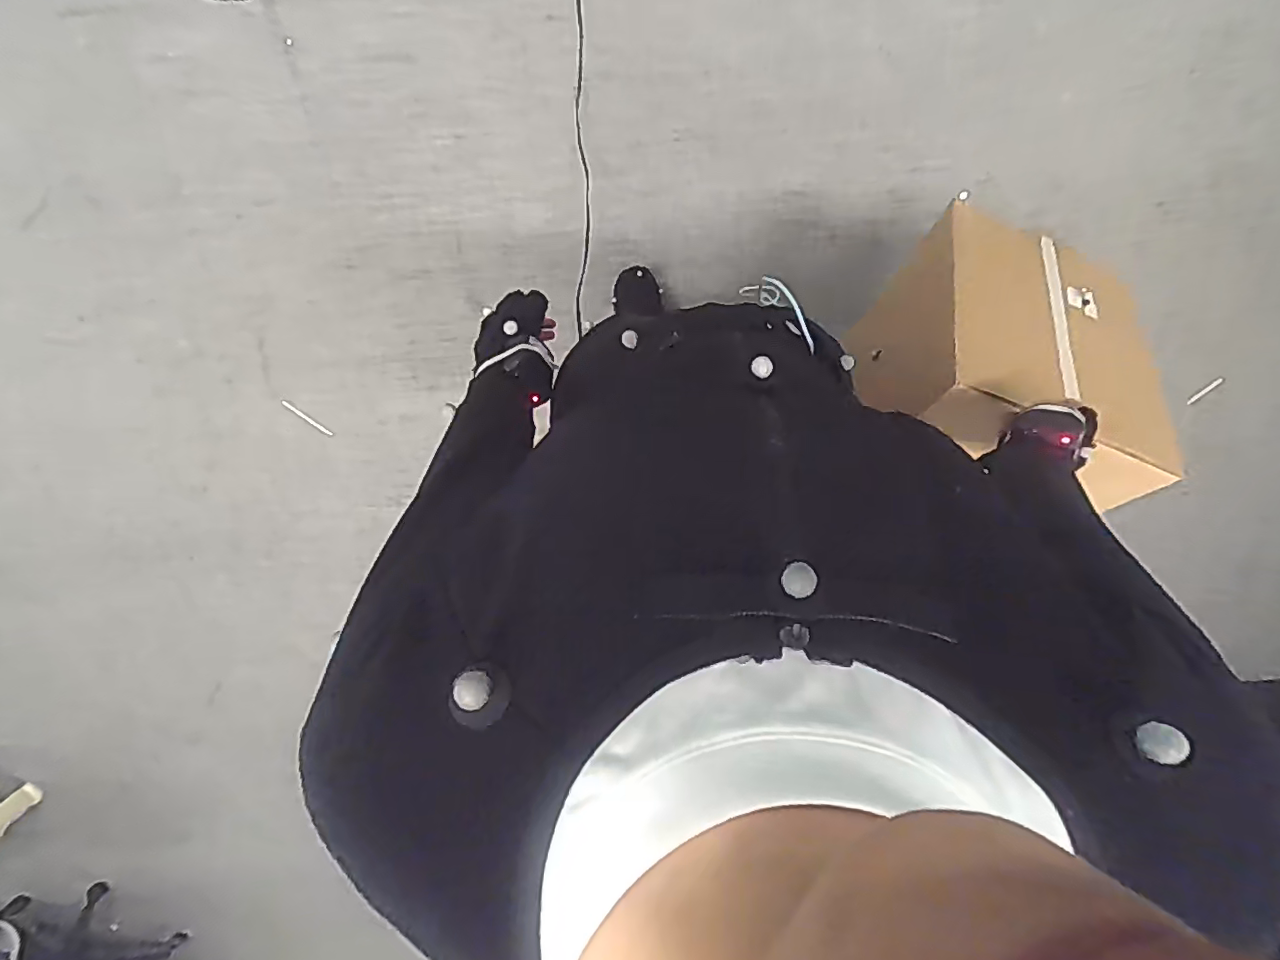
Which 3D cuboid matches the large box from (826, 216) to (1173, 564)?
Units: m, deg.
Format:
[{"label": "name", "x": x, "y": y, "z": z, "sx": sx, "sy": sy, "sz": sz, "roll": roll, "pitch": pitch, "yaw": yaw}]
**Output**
[{"label": "large box", "x": 0.534, "y": -0.133, "z": 0.883, "sx": 0.320, "sy": 0.408, "sz": 0.320, "roll": 22, "pitch": 148, "yaw": -4}]
